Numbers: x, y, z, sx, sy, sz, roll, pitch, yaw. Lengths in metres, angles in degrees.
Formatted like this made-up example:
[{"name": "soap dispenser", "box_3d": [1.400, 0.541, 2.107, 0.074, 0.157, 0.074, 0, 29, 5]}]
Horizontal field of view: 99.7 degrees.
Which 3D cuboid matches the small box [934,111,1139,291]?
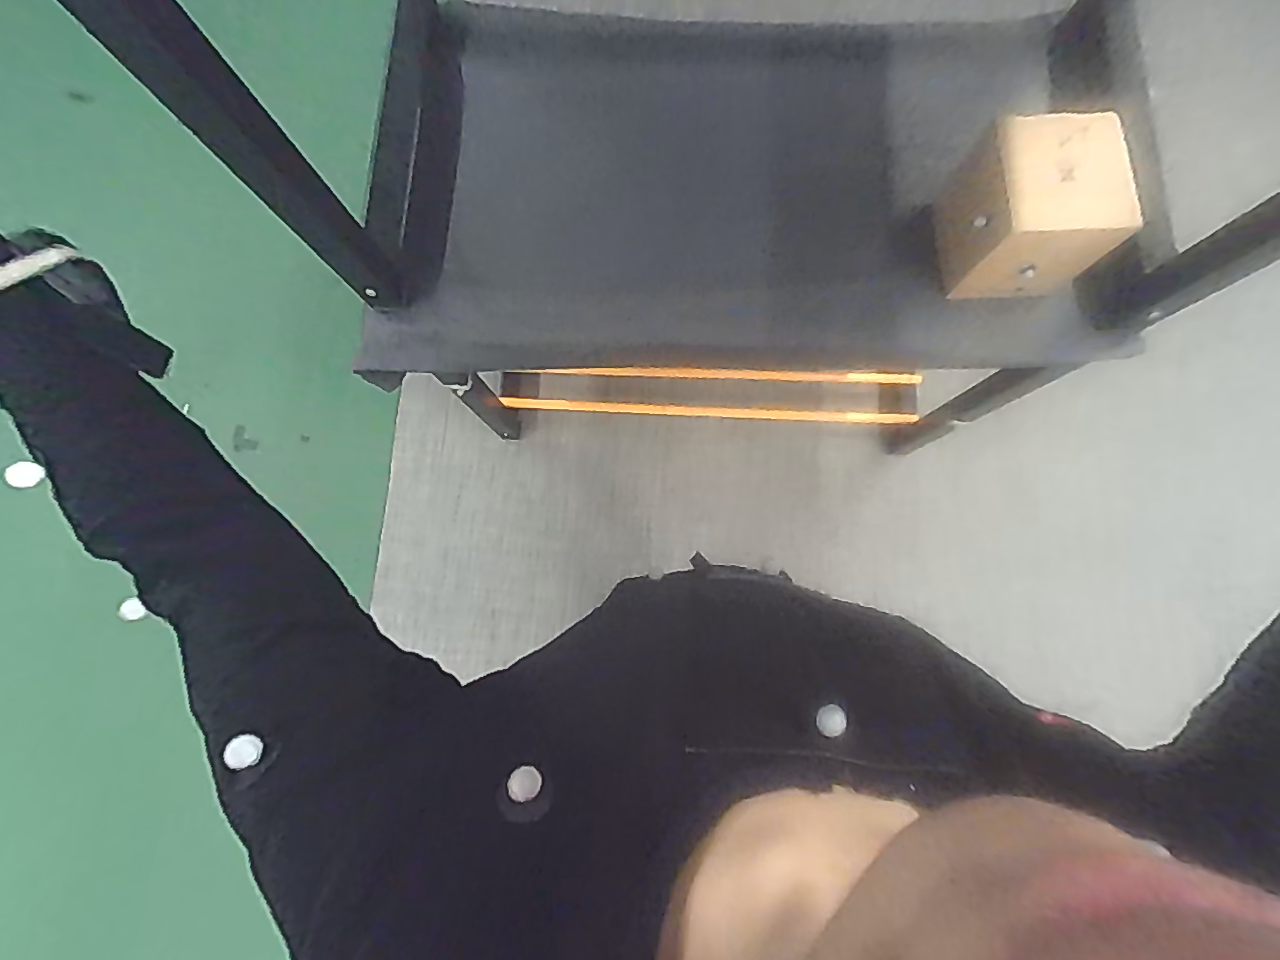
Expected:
[{"name": "small box", "box_3d": [0.557, -0.390, 0.785, 0.168, 0.176, 0.179, -1, 79, 1]}]
